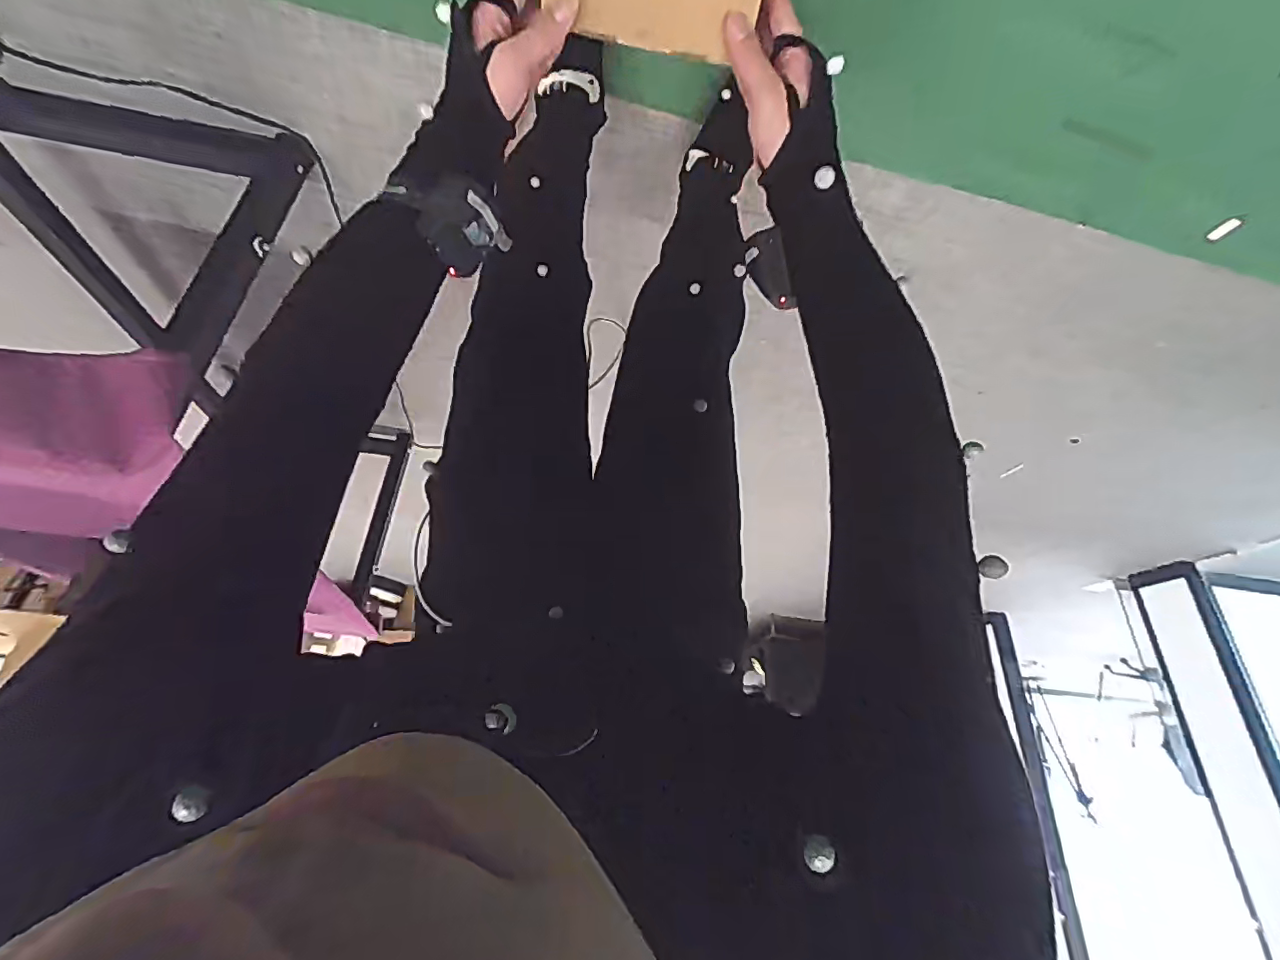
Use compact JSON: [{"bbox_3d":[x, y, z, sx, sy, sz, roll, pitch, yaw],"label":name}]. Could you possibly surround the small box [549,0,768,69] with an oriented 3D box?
[{"bbox_3d":[0.028,-0.457,0.406,0.168,0.176,0.179,9,145,-3],"label":"small box"}]
